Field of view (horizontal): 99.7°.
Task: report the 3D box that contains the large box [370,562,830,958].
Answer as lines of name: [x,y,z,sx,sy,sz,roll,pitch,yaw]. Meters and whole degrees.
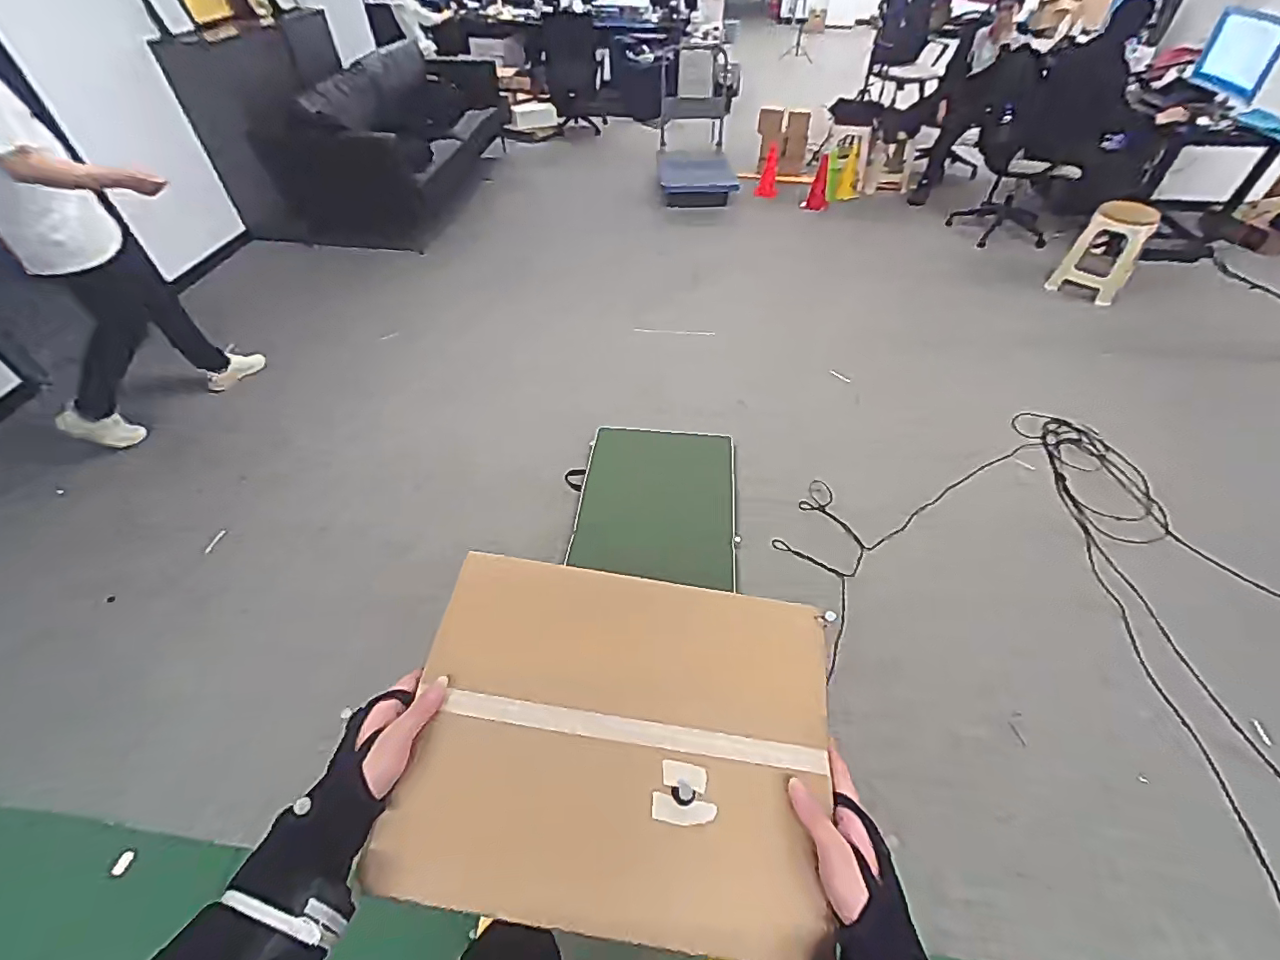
large box: [-0.028,0.327,0.660,0.408,0.320,0.320,9,58,1]
